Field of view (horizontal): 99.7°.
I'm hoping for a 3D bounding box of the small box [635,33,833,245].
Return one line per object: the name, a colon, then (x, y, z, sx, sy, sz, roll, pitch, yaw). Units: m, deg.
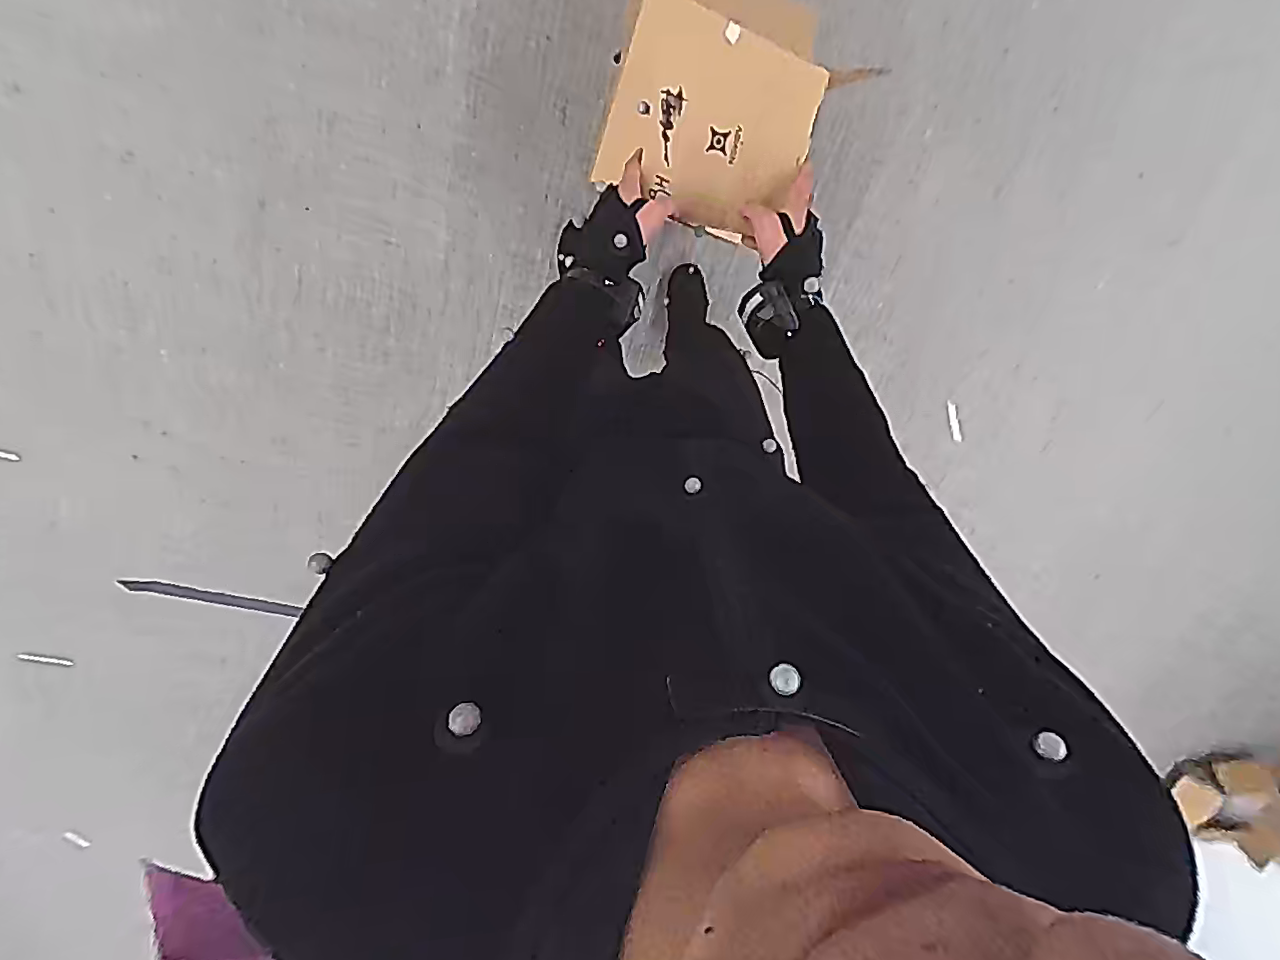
small box: (0.097, -0.392, 0.642, 0.179, 0.176, 0.168, 11, 118, -3)
